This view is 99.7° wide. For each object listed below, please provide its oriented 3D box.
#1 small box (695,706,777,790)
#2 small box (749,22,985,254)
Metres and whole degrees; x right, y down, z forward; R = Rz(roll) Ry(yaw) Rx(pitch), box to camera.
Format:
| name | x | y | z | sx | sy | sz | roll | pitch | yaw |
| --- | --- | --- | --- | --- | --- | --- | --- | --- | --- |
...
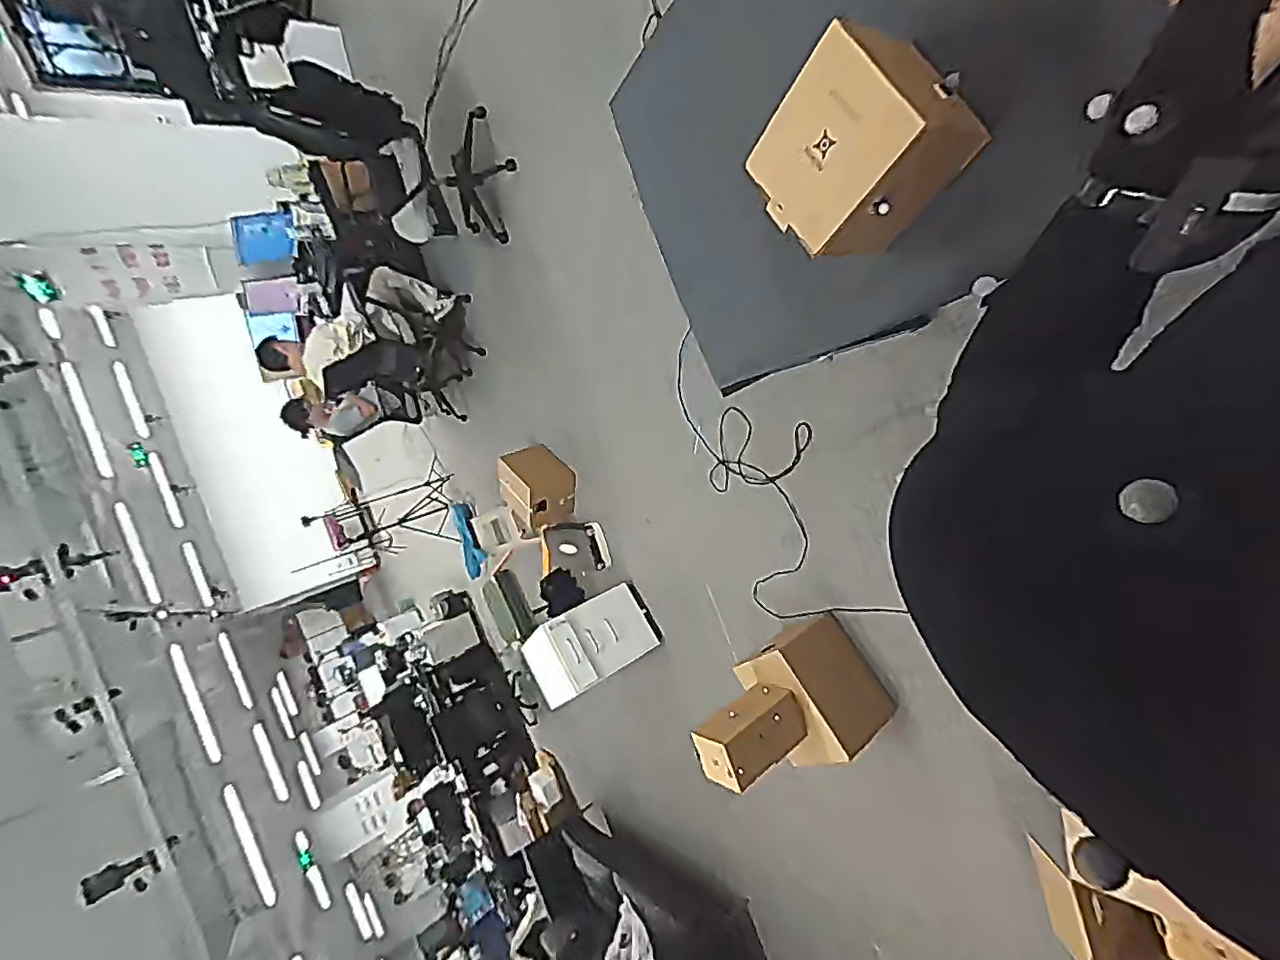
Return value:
| name | x | y | z | sx | sy | sz | roll | pitch | yaw |
| --- | --- | --- | --- | --- | --- | --- | --- | --- | --- |
| small box | 0.316 | 0.874 | 1.783 | 0.179 | 0.176 | 0.168 | -17 | 94 | 58 |
| small box | 0.279 | -0.411 | 0.676 | 0.168 | 0.176 | 0.179 | 60 | 144 | 14 |
